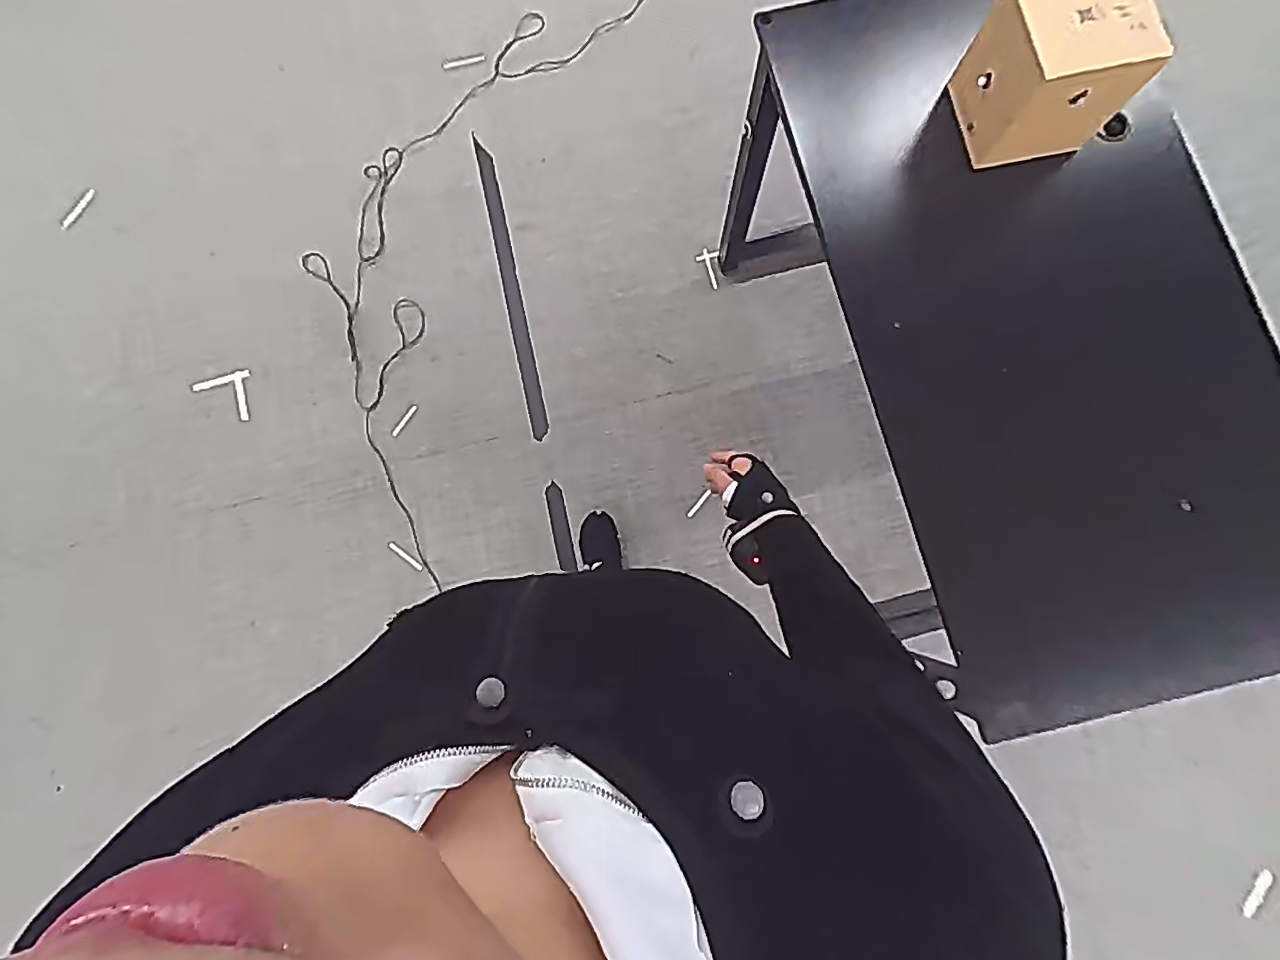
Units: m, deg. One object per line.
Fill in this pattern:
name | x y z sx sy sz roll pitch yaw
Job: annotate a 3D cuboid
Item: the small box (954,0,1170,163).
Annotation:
small box | 0.600 -0.607 0.801 0.179 0.176 0.168 -11 81 0
